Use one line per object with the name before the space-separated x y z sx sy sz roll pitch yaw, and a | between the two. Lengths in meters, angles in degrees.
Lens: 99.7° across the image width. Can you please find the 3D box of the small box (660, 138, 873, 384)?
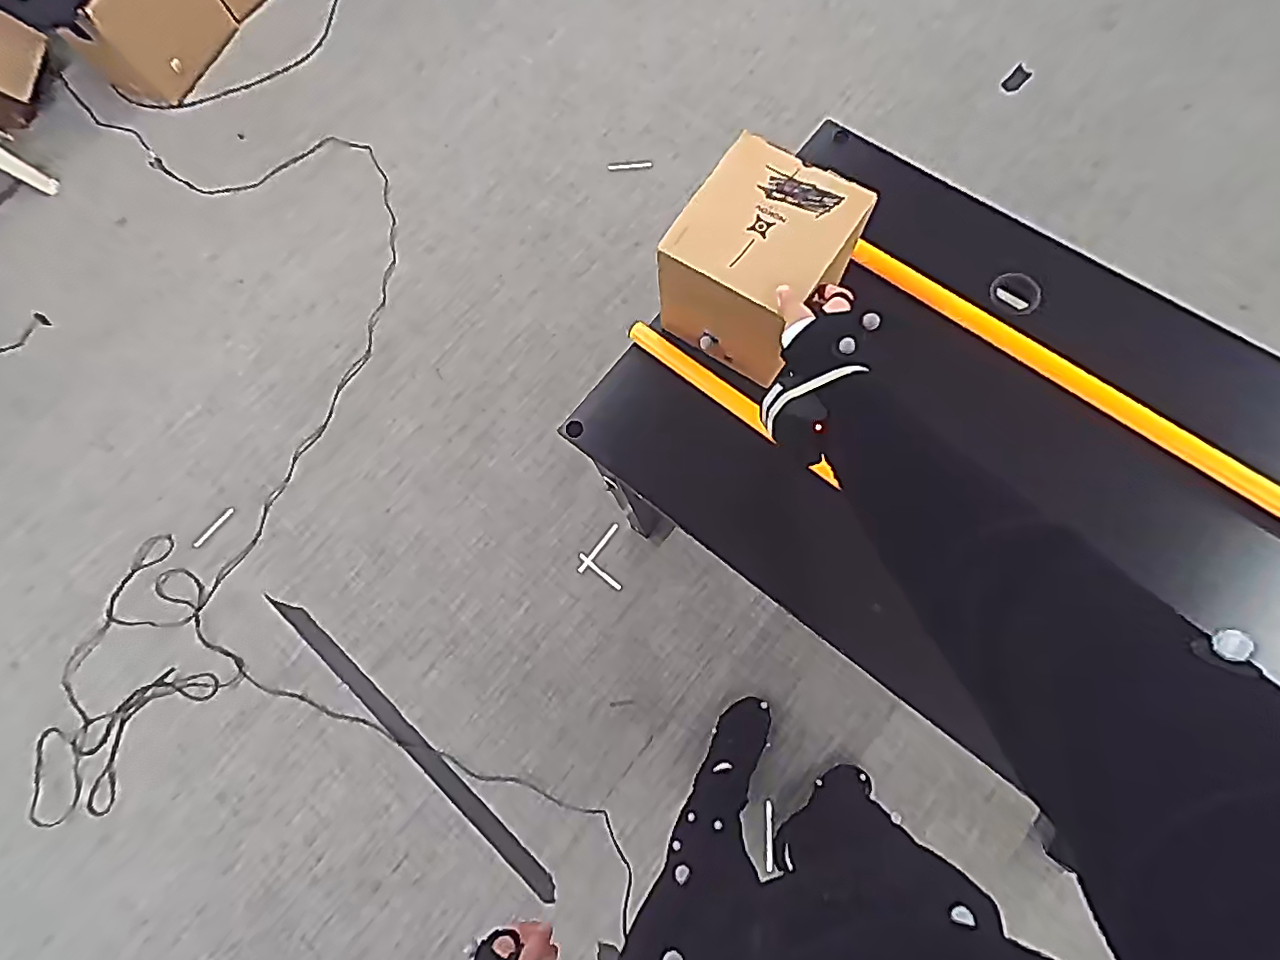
small box | 0.139 -0.250 0.649 0.168 0.176 0.179 33 81 12
